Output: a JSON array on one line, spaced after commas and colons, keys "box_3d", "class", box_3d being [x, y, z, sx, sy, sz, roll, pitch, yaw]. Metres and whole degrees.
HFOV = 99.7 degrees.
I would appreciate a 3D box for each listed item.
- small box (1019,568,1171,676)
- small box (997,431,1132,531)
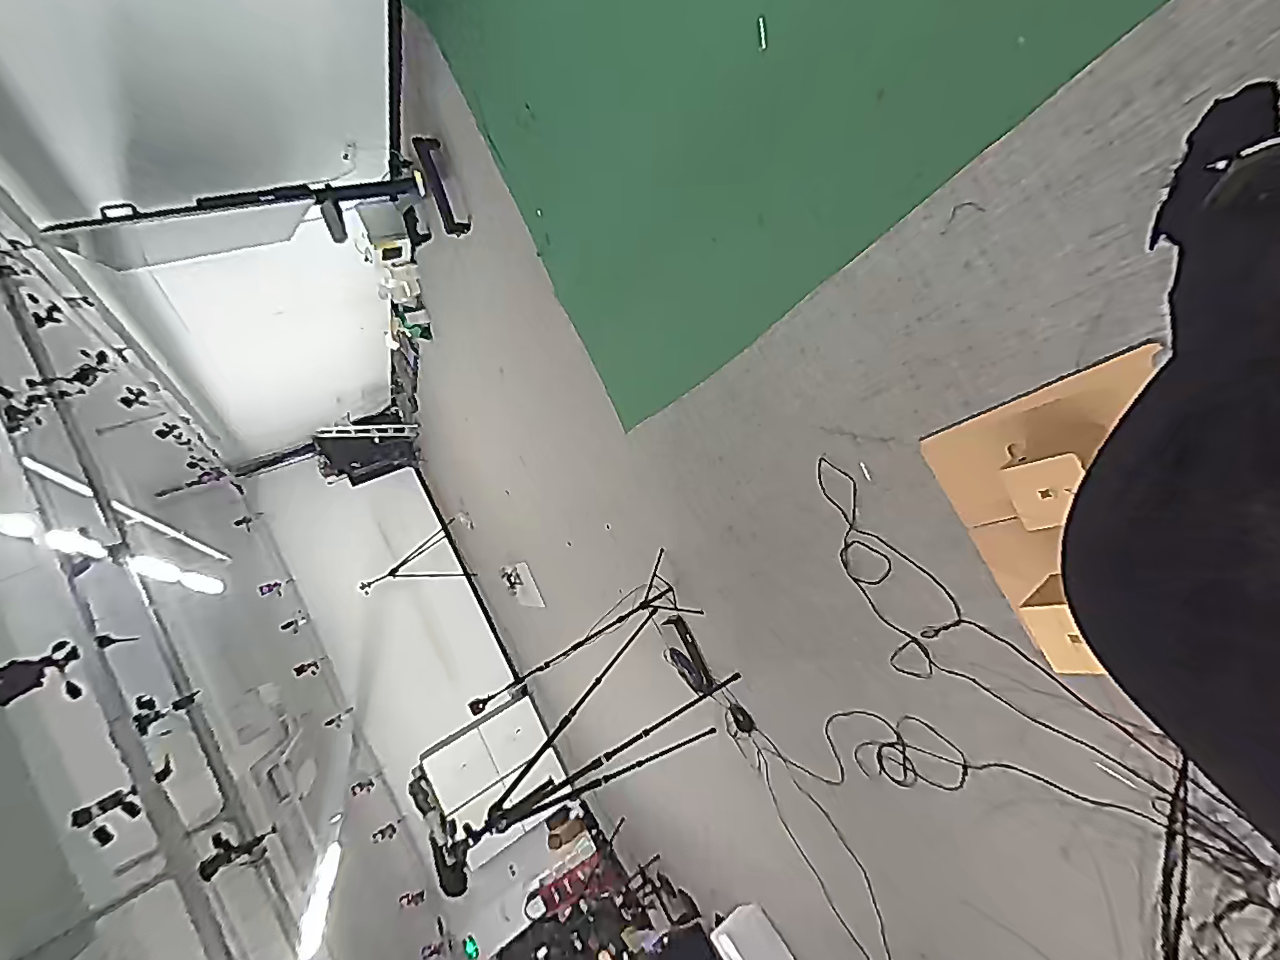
[{"box_3d": [0.997, 0.310, 1.188, 0.168, 0.176, 0.179, 62, 151, 5], "class": "small box"}, {"box_3d": [1.004, 0.004, 1.283, 0.168, 0.176, 0.179, 63, 150, 1], "class": "small box"}]
